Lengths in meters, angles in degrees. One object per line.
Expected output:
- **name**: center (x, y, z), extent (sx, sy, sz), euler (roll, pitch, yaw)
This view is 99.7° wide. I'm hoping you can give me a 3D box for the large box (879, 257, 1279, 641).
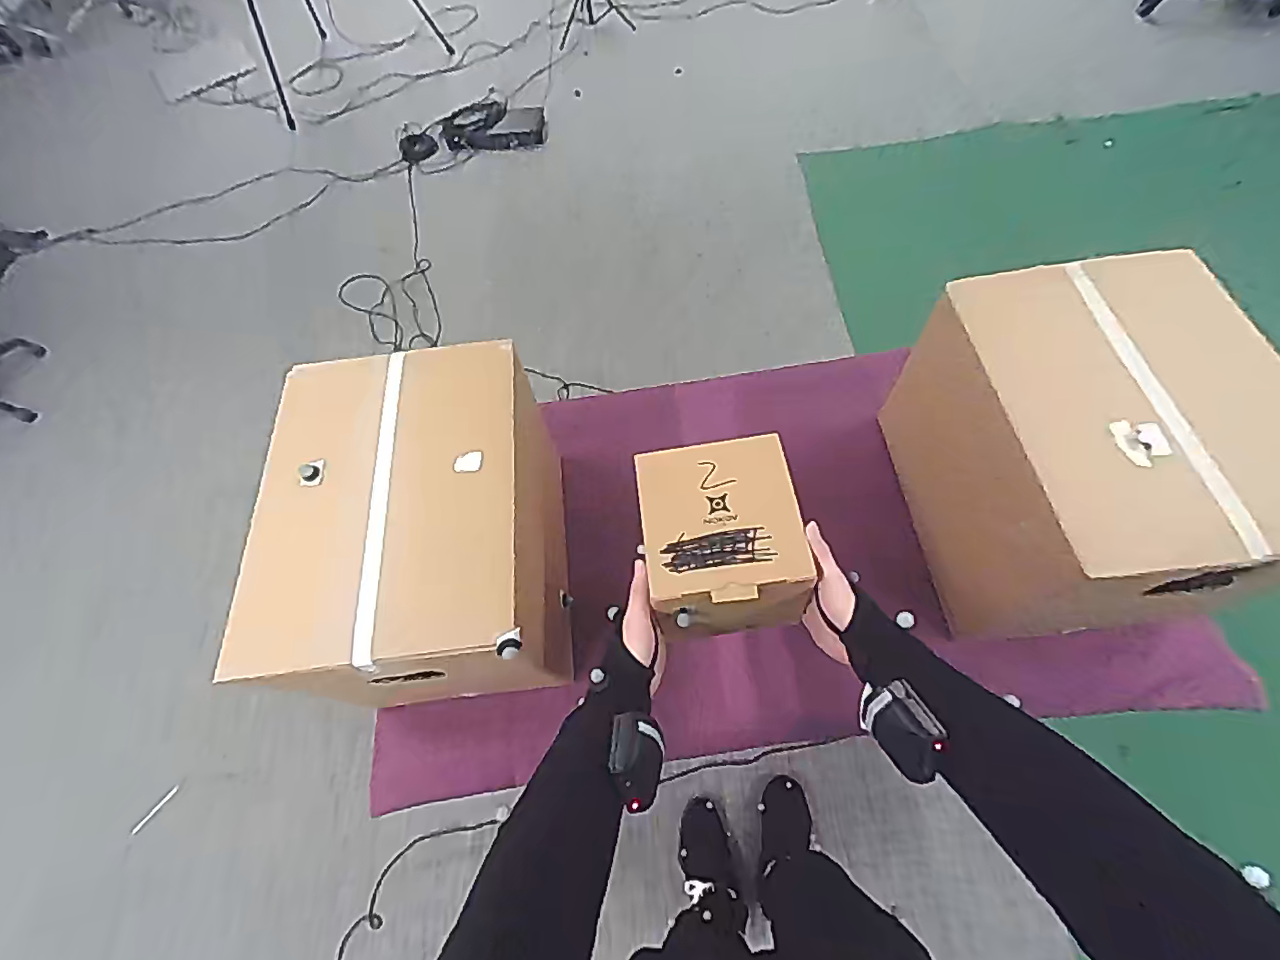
- **large box**: center (0.578, -0.026, 0.735), extent (0.320, 0.320, 0.408), euler (-7, 63, 3)
